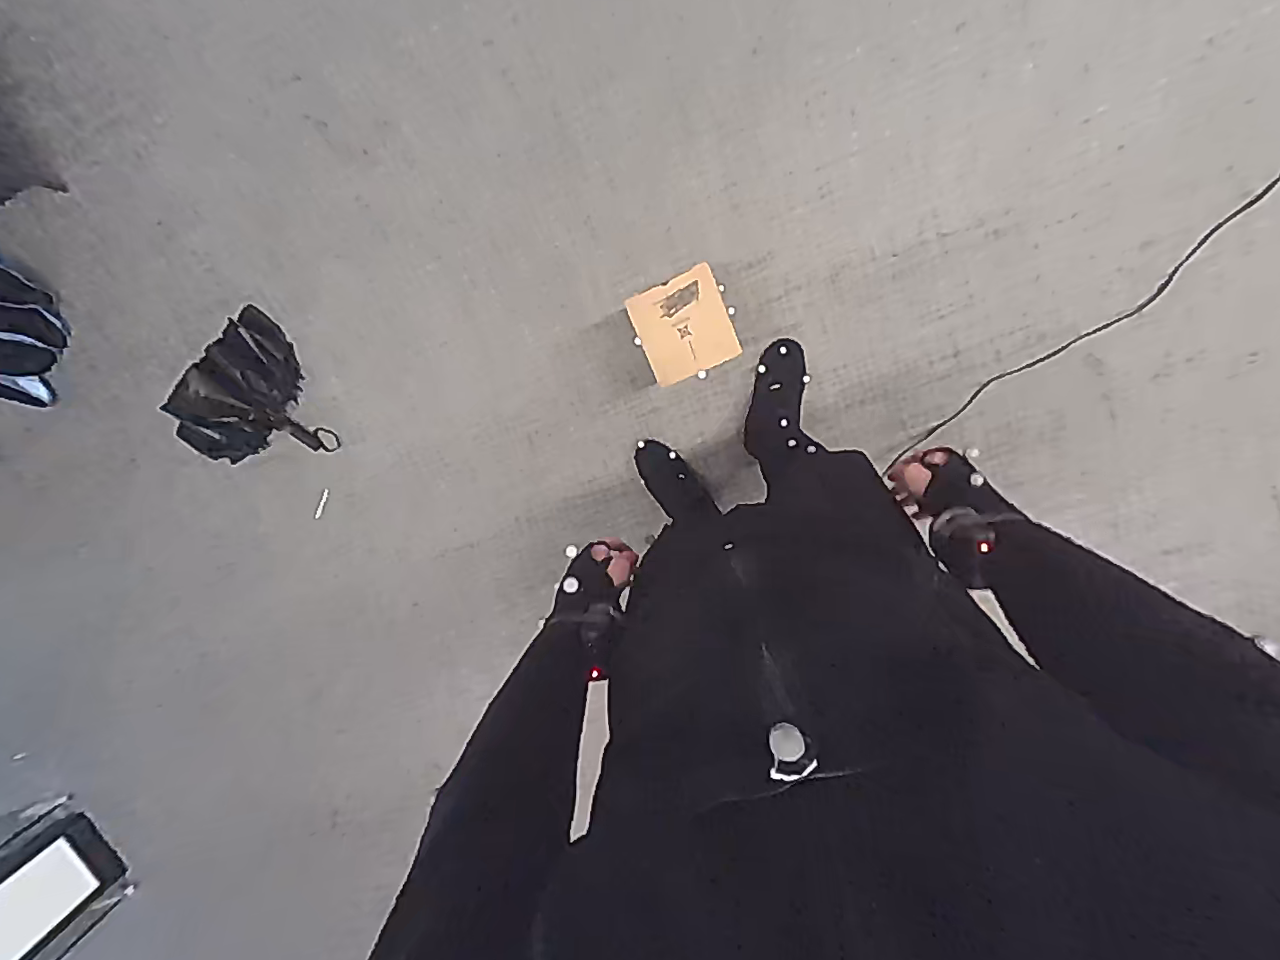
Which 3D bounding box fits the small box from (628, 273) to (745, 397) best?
[{"bbox_3d":[0.093,-0.278,1.056,0.168,0.176,0.179,-22,101,13],"label":"small box"}]
